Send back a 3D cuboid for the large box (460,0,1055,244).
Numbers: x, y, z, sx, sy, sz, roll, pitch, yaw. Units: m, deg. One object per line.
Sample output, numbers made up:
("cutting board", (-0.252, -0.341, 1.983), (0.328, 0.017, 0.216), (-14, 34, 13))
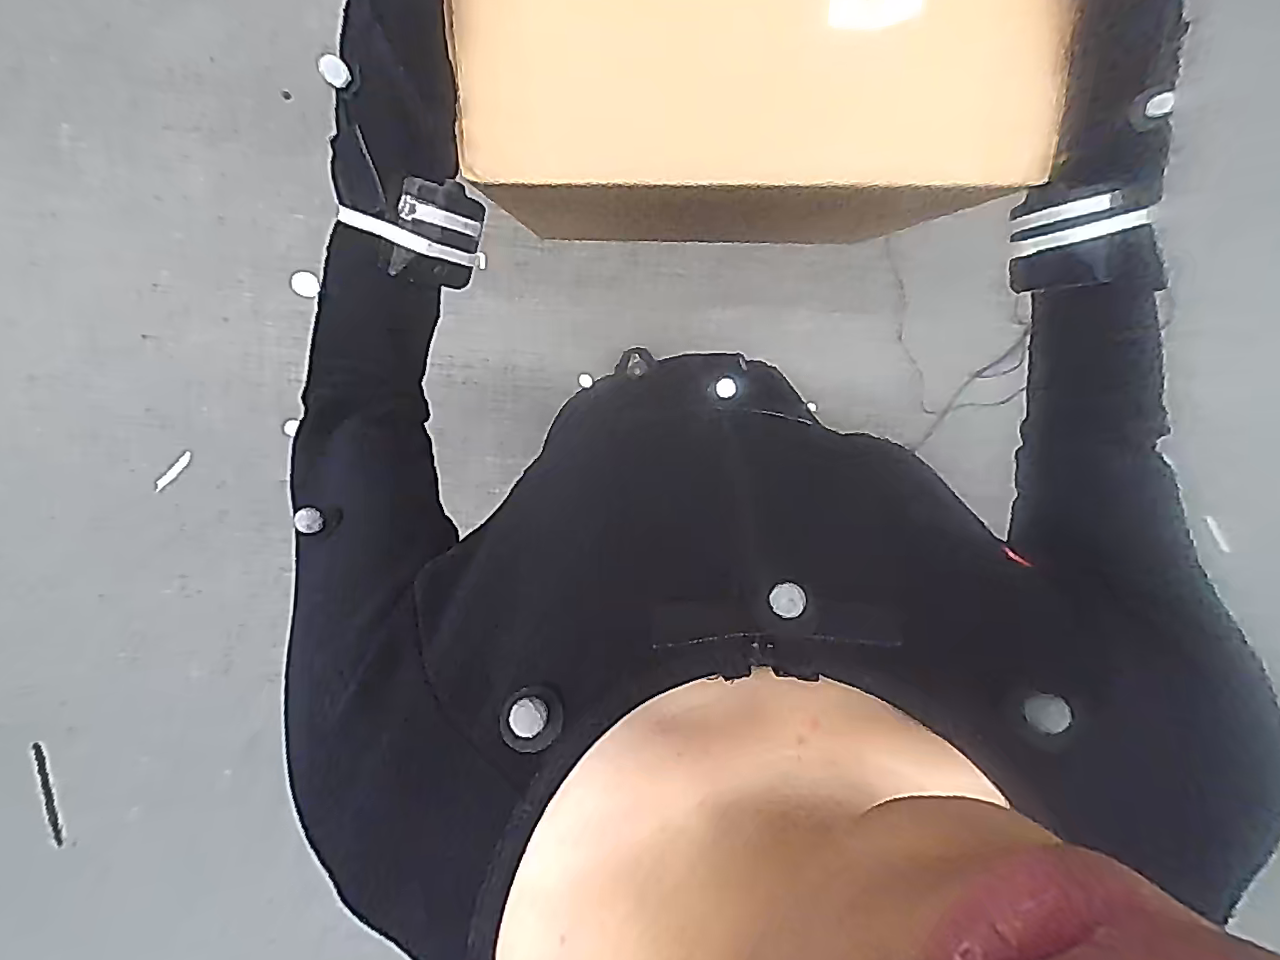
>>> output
("large box", (0.073, -0.404, 0.487), (0.408, 0.320, 0.320), (0, 107, -1))
